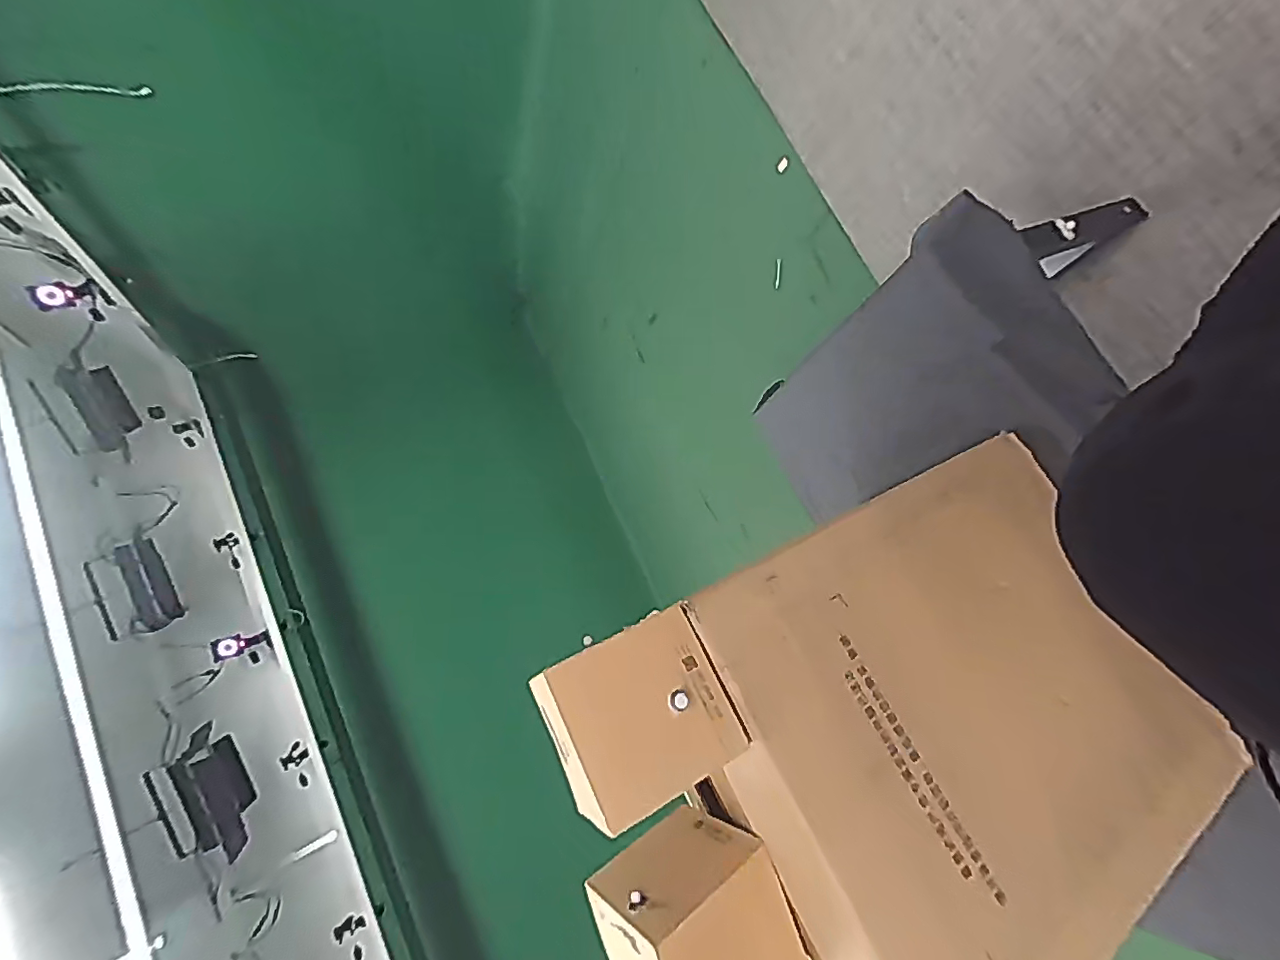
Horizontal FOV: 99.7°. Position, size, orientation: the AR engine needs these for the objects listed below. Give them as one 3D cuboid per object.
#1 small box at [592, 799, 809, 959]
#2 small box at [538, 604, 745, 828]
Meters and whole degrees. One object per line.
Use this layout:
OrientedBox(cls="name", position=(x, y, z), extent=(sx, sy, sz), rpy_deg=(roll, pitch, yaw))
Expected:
OrientedBox(cls="small box", position=(0.074, 0.530, 0.646), extent=(0.168, 0.176, 0.179), rpy_deg=(-24, 86, 56))
OrientedBox(cls="small box", position=(-0.005, 0.264, 0.634), extent=(0.168, 0.176, 0.179), rpy_deg=(63, 156, 14))
